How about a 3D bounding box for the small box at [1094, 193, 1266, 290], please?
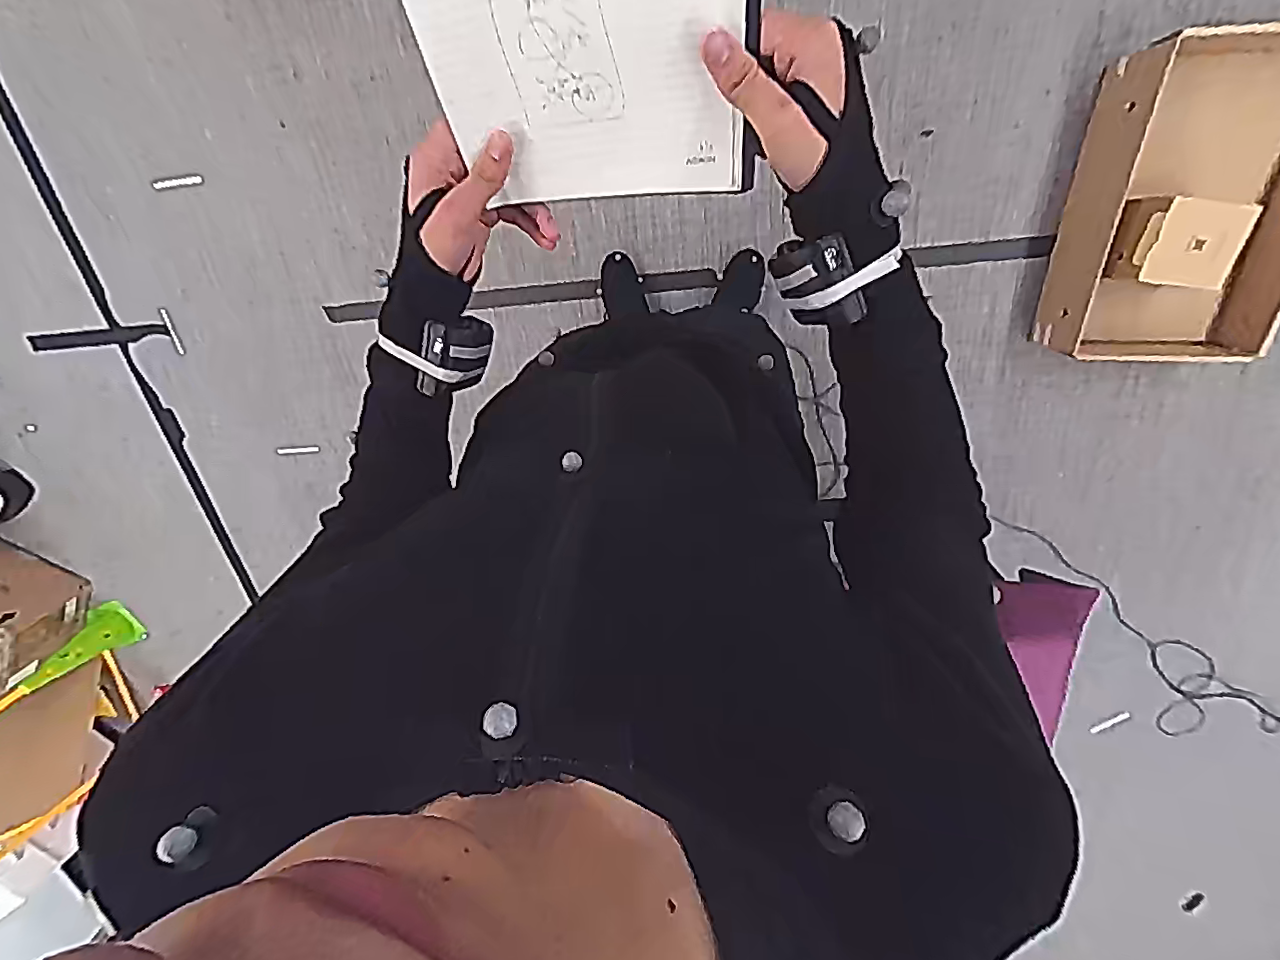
[{"bbox_3d":[1.159,-0.519,1.182,0.179,0.176,0.168,9,115,3],"label":"small box"}]
